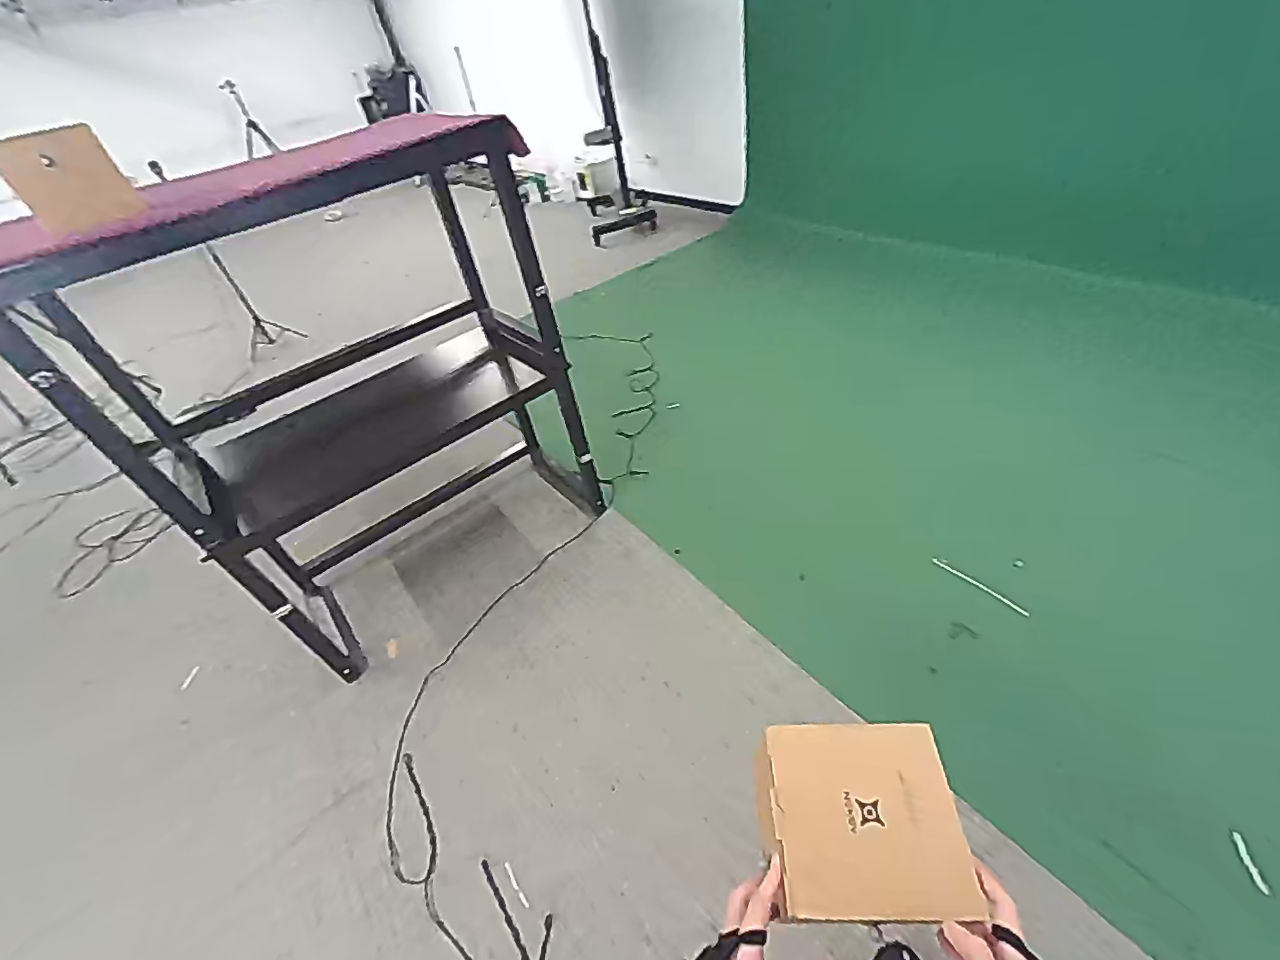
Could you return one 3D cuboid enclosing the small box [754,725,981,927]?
[{"bbox_3d":[0.223,0.379,0.591,0.179,0.176,0.168,-2,50,3],"label":"small box"}]

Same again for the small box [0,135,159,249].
[{"bbox_3d":[-1.163,-0.600,1.126,0.179,0.176,0.168,-35,47,-24],"label":"small box"}]
